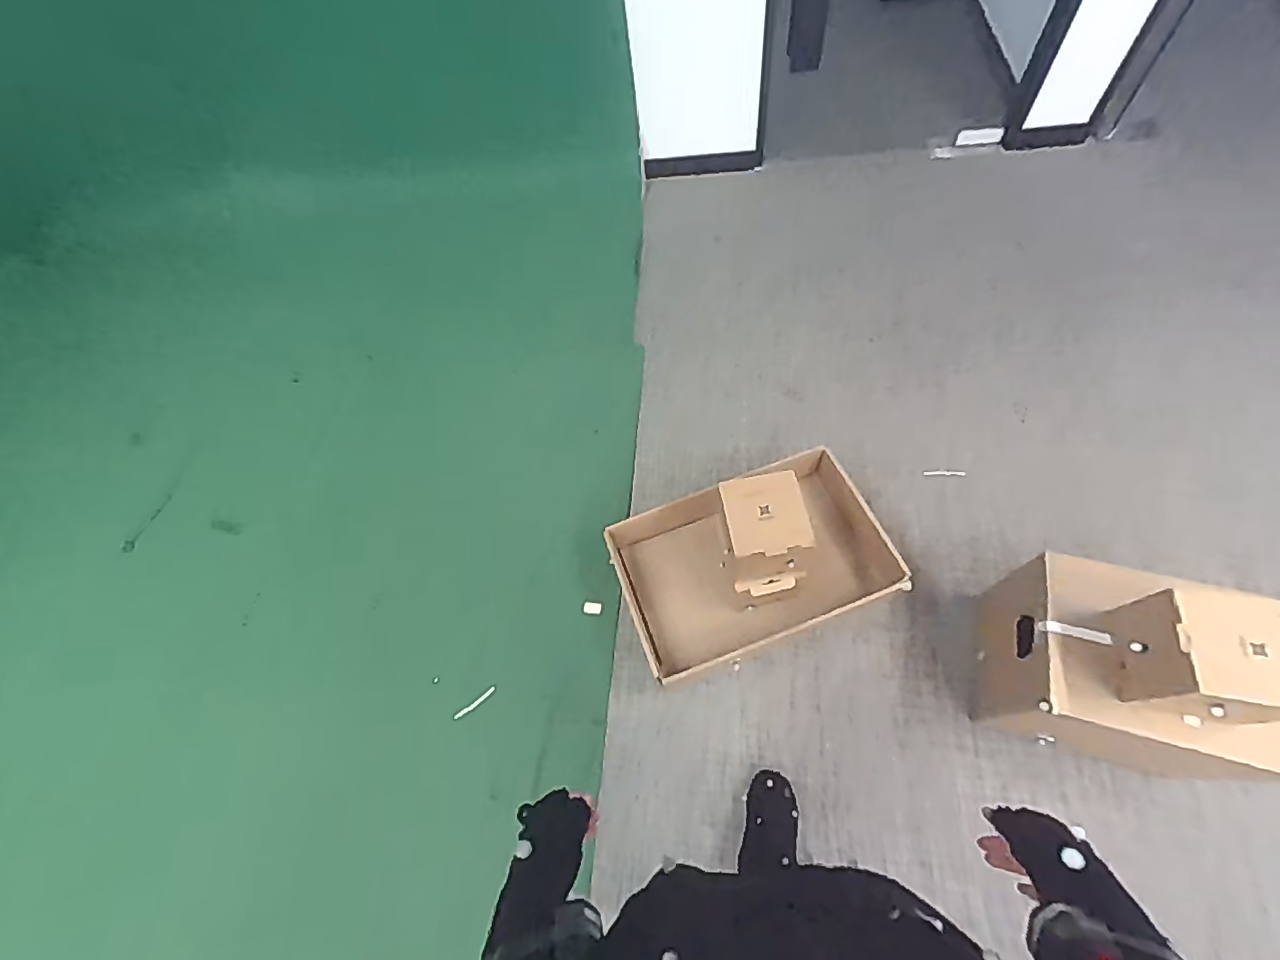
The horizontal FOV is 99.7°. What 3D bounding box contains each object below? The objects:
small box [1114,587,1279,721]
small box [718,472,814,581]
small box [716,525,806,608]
[{"bbox_3d":[0.923,0.288,0.882,0.179,0.176,0.168,7,64,12],"label":"small box"},{"bbox_3d":[0.270,0.111,1.188,0.168,0.176,0.179,-11,58,3],"label":"small box"},{"bbox_3d":[0.291,0.201,1.321,0.168,0.176,0.179,-15,59,2],"label":"small box"}]
